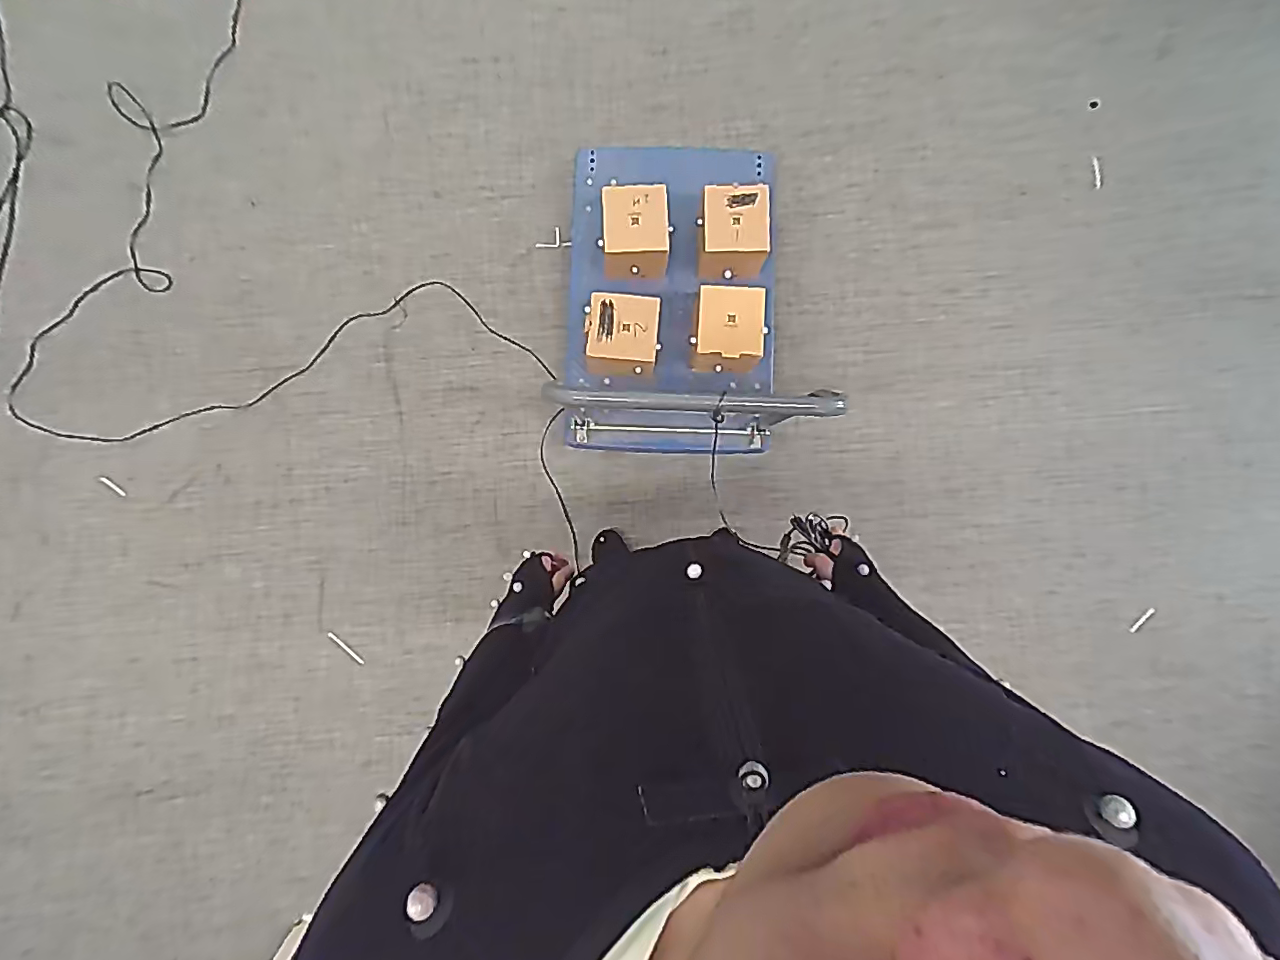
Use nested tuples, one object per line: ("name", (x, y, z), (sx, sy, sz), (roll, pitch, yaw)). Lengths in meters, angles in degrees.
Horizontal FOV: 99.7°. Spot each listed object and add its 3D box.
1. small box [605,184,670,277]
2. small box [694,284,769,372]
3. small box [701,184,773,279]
("small box", (-0.006, -0.655, 1.438), (0.168, 0.176, 0.179), (-2, 86, -1))
("small box", (0.235, -0.394, 1.423), (0.168, 0.176, 0.179), (3, 87, 0))
("small box", (0.252, -0.656, 1.436), (0.168, 0.176, 0.179), (0, 87, 1))
